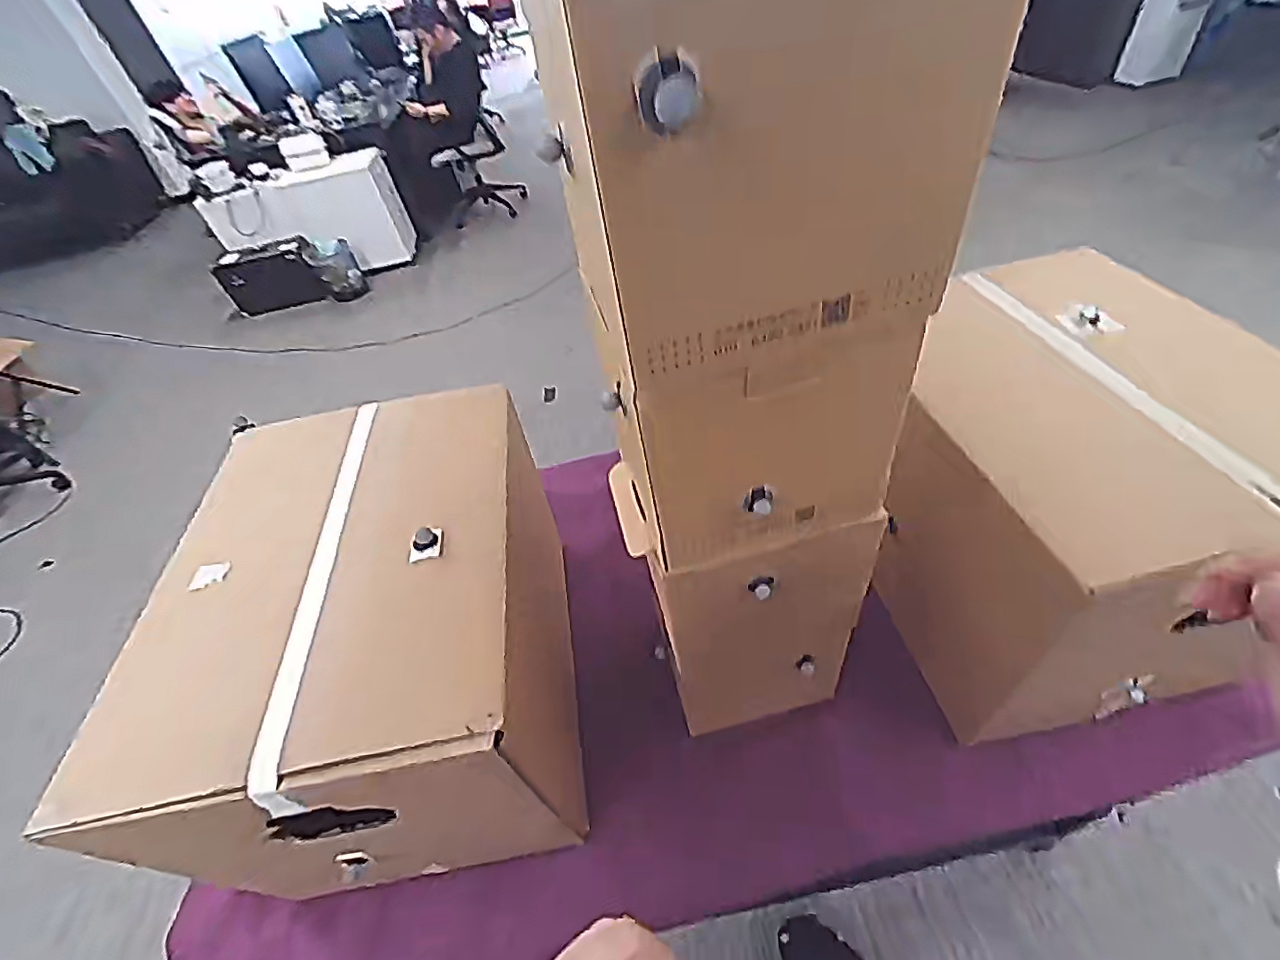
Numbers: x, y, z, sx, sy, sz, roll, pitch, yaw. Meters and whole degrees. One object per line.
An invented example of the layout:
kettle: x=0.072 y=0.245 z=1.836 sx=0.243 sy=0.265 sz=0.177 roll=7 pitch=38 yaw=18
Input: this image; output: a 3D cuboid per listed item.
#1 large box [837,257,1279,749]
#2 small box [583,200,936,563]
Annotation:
large box: x=0.430 y=0.010 z=0.598 sx=0.320 sy=0.320 sz=0.408 roll=-13 pitch=44 yaw=-1
small box: x=0.066 y=-0.071 z=0.388 sx=0.168 sy=0.176 sz=0.179 roll=-16 pitch=46 yaw=-4
